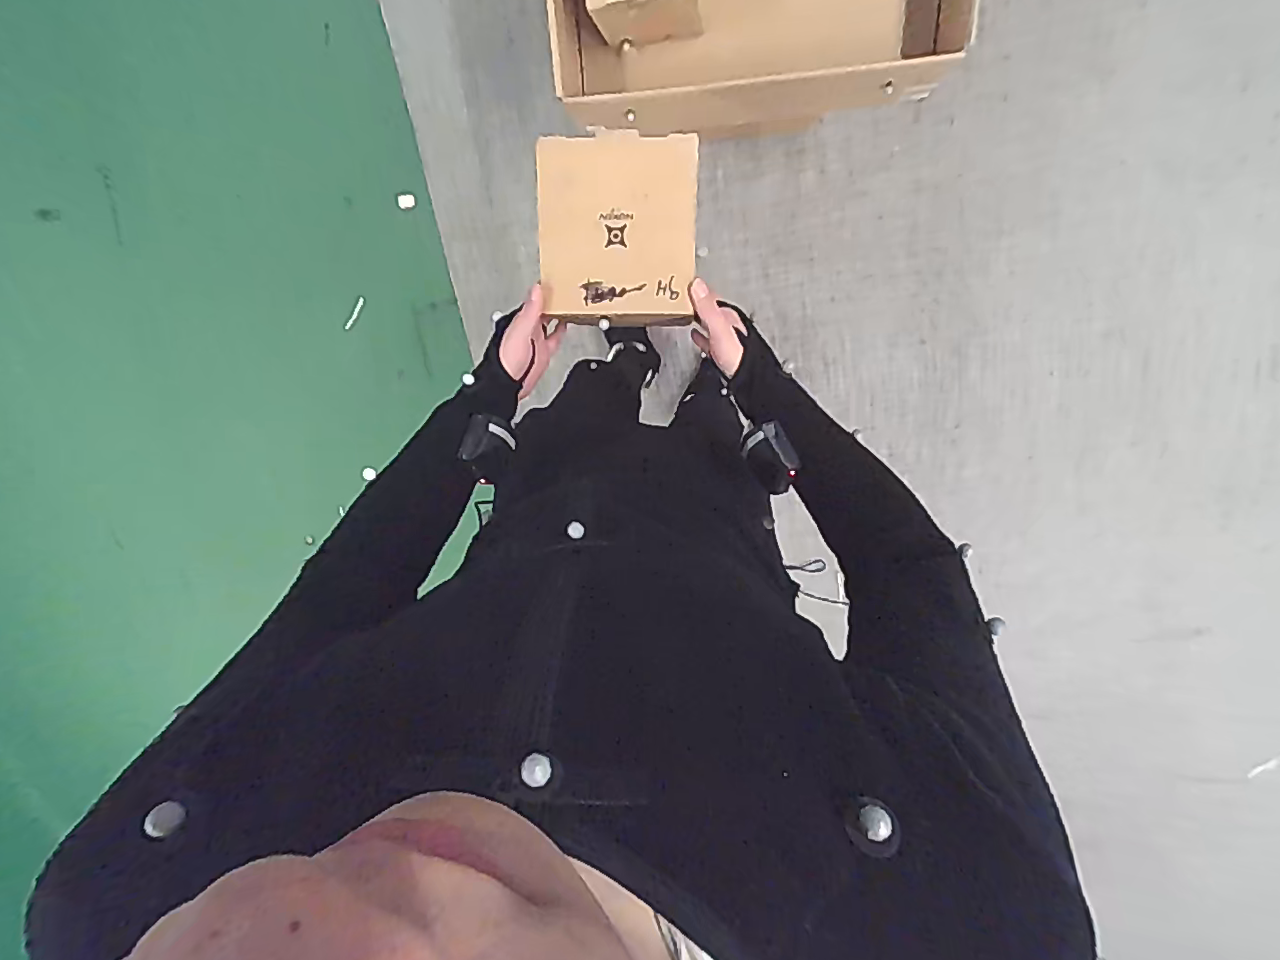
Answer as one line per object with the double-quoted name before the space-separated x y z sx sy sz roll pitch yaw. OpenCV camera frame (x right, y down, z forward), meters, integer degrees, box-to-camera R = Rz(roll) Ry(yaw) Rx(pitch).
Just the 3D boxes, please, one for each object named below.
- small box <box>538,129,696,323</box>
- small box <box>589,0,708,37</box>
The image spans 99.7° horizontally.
"small box" -0.020 -0.287 0.645 0.168 0.176 0.179 2 102 5
"small box" 0.014 -0.809 0.820 0.168 0.176 0.179 0 111 12
